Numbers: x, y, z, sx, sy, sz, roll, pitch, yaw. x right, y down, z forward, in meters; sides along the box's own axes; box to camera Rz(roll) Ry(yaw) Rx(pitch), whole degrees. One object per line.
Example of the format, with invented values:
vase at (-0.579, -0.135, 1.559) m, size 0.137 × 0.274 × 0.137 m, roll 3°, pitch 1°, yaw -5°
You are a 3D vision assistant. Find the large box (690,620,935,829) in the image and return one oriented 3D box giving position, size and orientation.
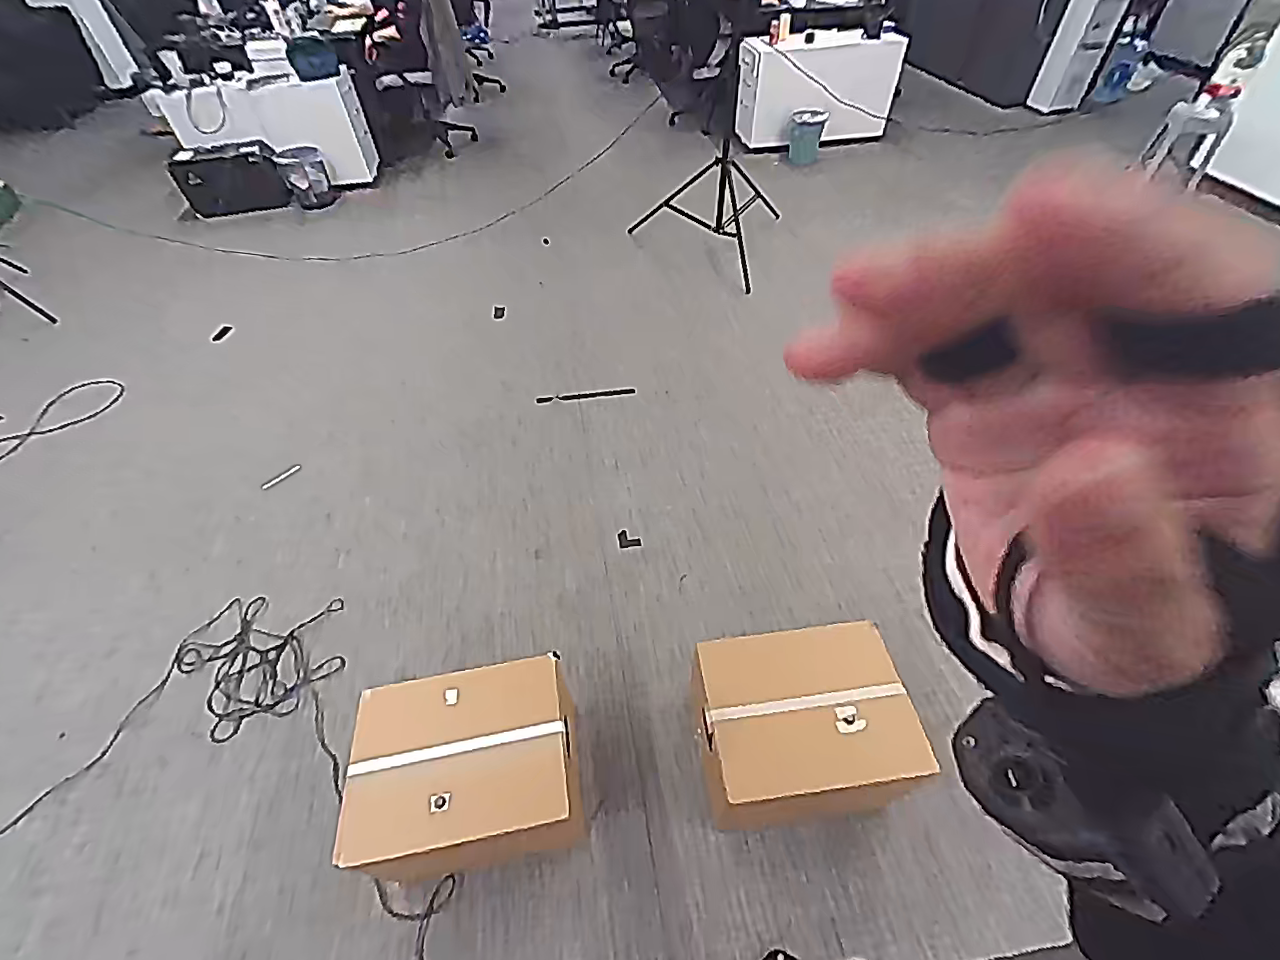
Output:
large box at (0.344, 0.548, 1.210) m, size 0.408 × 0.320 × 0.320 m, roll -6°, pitch 49°, yaw -4°
